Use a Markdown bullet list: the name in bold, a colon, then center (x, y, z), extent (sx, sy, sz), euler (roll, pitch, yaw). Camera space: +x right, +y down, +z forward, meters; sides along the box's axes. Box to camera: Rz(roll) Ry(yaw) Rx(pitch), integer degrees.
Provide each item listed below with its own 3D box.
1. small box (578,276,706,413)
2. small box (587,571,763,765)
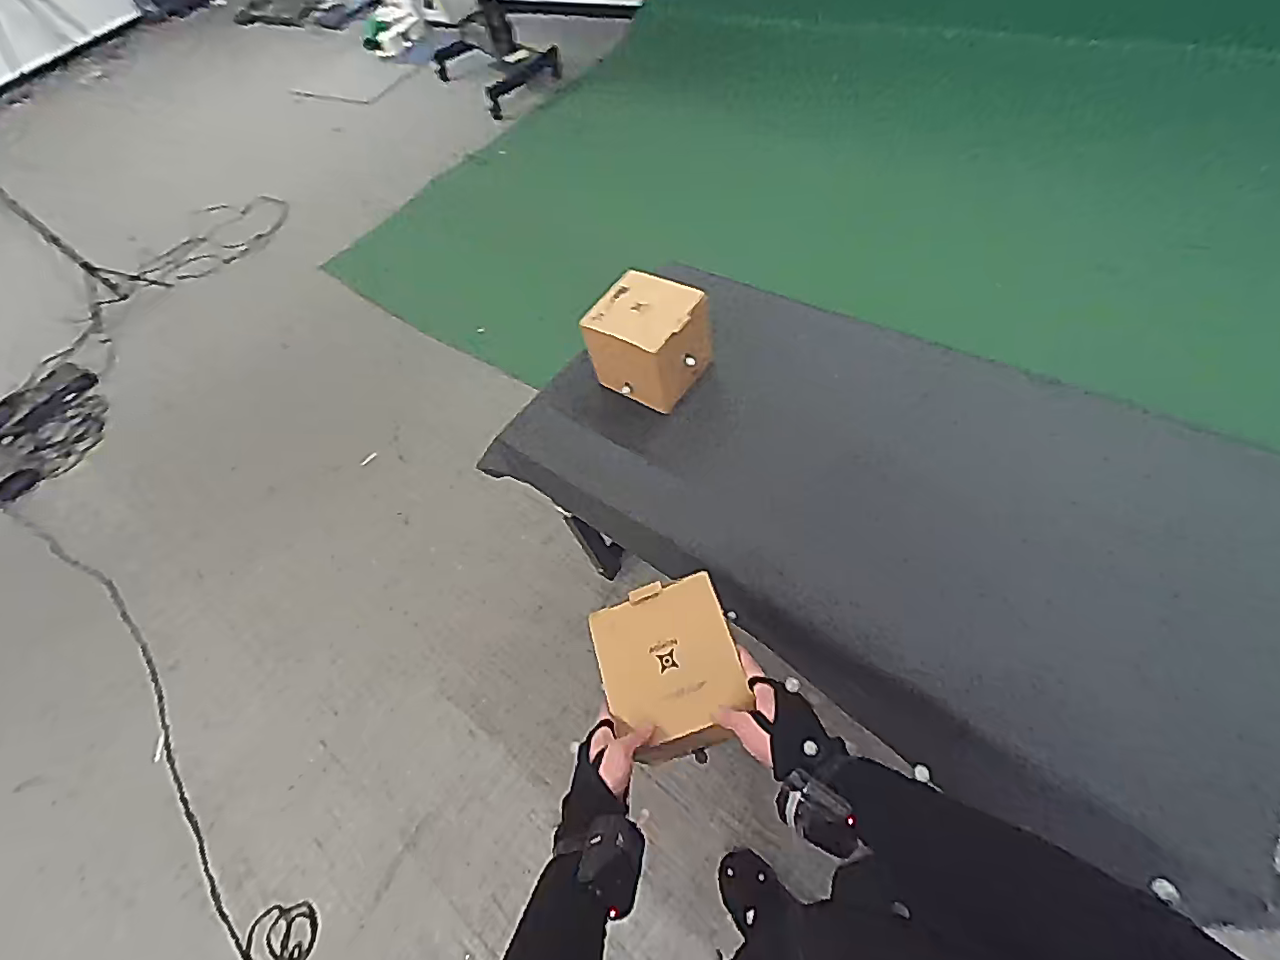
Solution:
- **small box**: center (0.014, -0.256, 1.048), extent (0.179, 0.176, 0.168), euler (29, 68, 25)
- **small box**: center (0.048, 0.247, 0.694), extent (0.168, 0.176, 0.179), euler (-20, 56, 6)
